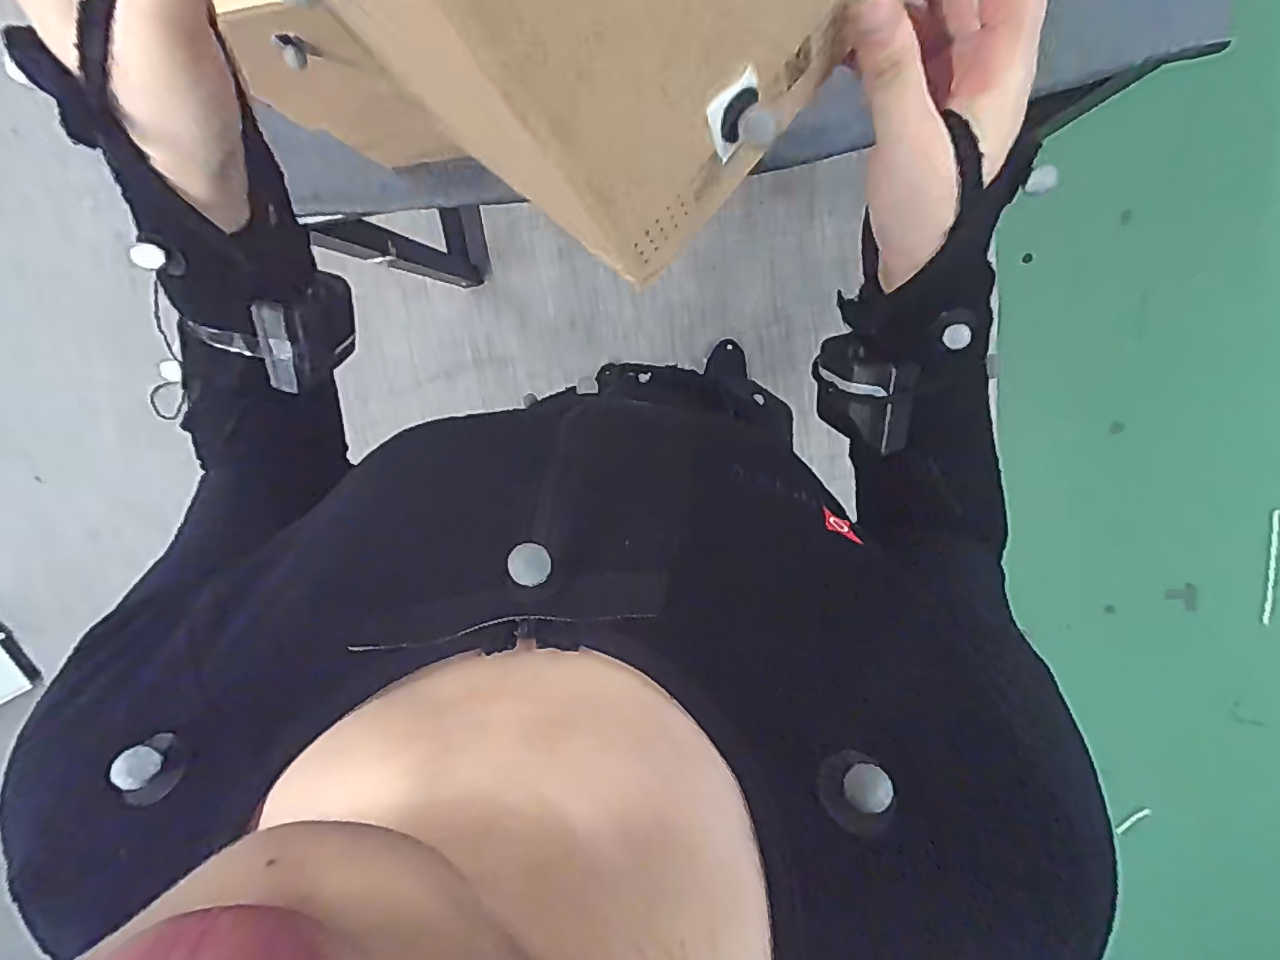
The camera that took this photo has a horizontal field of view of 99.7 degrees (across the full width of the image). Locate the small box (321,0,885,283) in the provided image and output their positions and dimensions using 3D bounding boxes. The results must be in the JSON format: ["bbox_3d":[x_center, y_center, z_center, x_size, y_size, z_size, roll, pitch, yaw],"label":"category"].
[{"bbox_3d":[-0.026,-0.206,0.198,0.179,0.176,0.168,45,101,15],"label":"small box"}]
